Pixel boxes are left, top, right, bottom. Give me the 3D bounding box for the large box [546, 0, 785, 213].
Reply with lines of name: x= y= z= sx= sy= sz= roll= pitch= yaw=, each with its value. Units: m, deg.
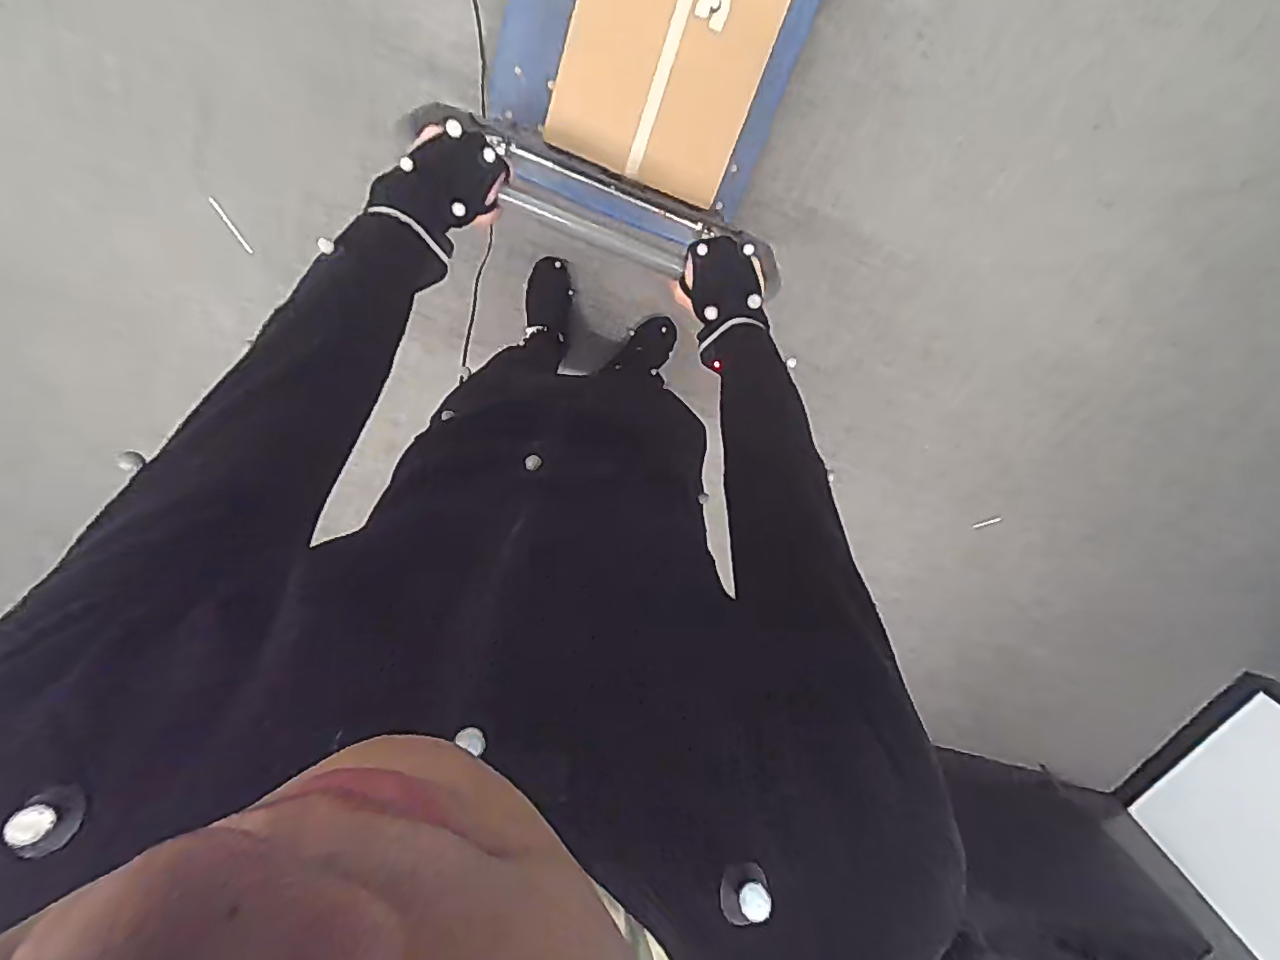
large box: x=0.037 y=-0.760 z=1.003 sx=0.320 sy=0.320 sz=0.408 roll=17 pitch=113 yaw=-12
